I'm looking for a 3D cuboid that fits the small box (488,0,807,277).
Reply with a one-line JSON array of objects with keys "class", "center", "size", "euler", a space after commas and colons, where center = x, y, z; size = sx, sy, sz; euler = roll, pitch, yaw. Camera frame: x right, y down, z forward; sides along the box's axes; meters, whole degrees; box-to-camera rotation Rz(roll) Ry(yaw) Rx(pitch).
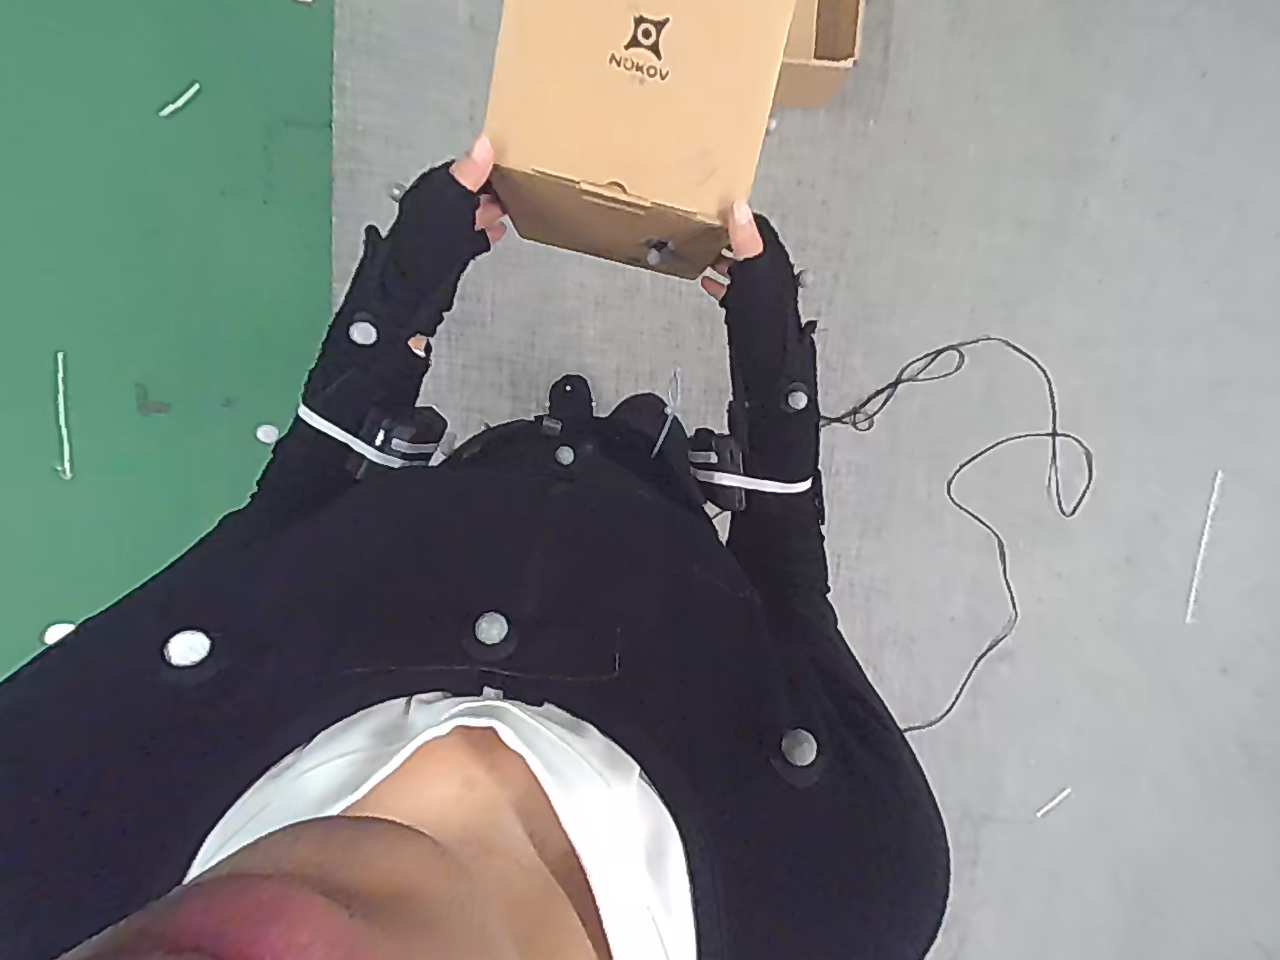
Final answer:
[{"class": "small box", "center": [0.001, -0.266, 0.395], "size": [0.168, 0.176, 0.179], "euler": [13, 98, -7]}]
